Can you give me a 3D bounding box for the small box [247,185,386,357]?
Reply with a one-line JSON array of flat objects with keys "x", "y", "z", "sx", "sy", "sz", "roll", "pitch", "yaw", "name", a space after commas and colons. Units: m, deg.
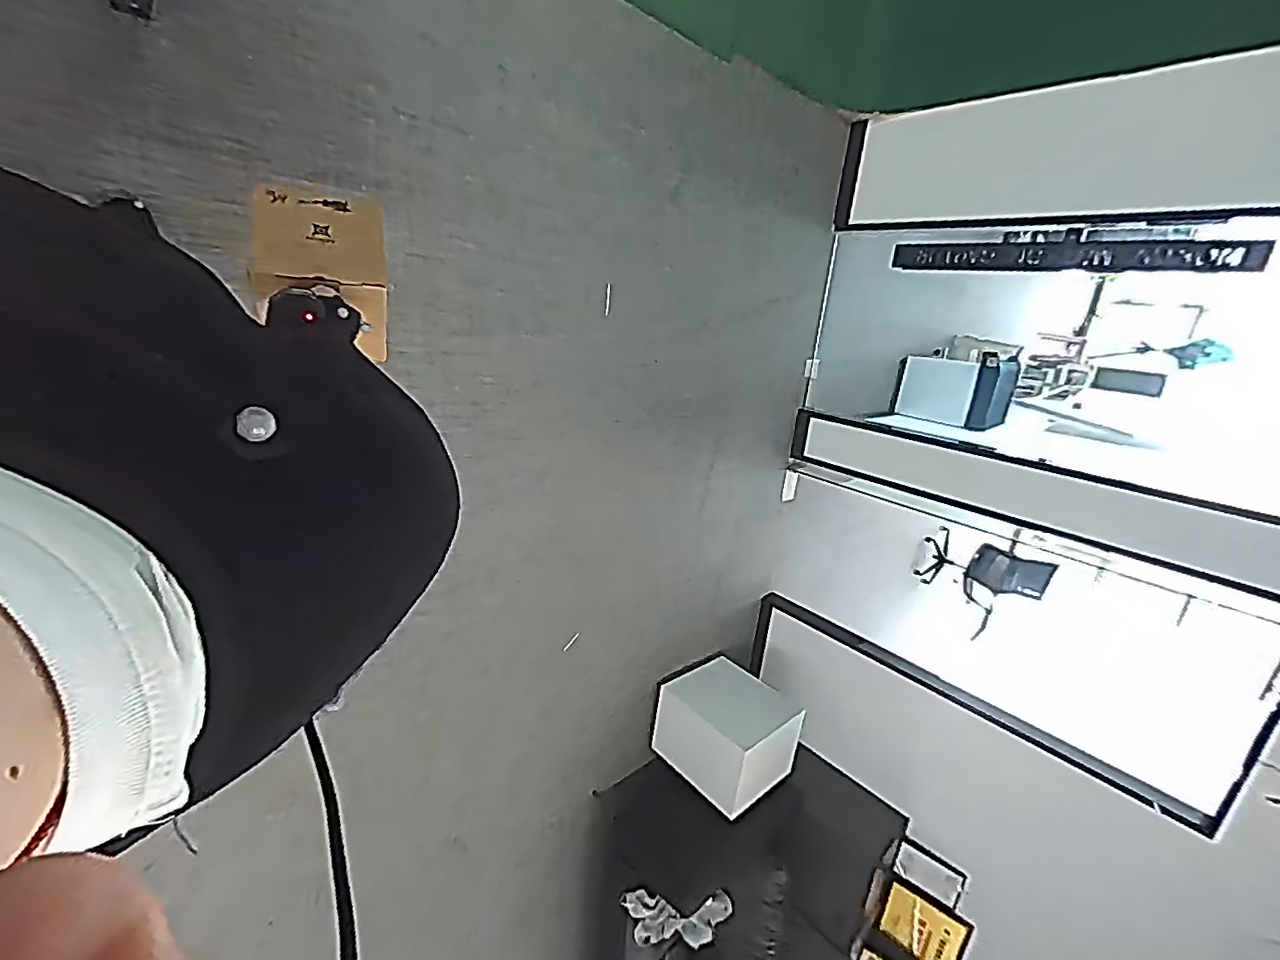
[{"x": -0.487, "y": -0.310, "z": 0.834, "sx": 0.168, "sy": 0.179, "sz": 0.176, "roll": -3, "pitch": 154, "yaw": -27, "name": "small box"}]
